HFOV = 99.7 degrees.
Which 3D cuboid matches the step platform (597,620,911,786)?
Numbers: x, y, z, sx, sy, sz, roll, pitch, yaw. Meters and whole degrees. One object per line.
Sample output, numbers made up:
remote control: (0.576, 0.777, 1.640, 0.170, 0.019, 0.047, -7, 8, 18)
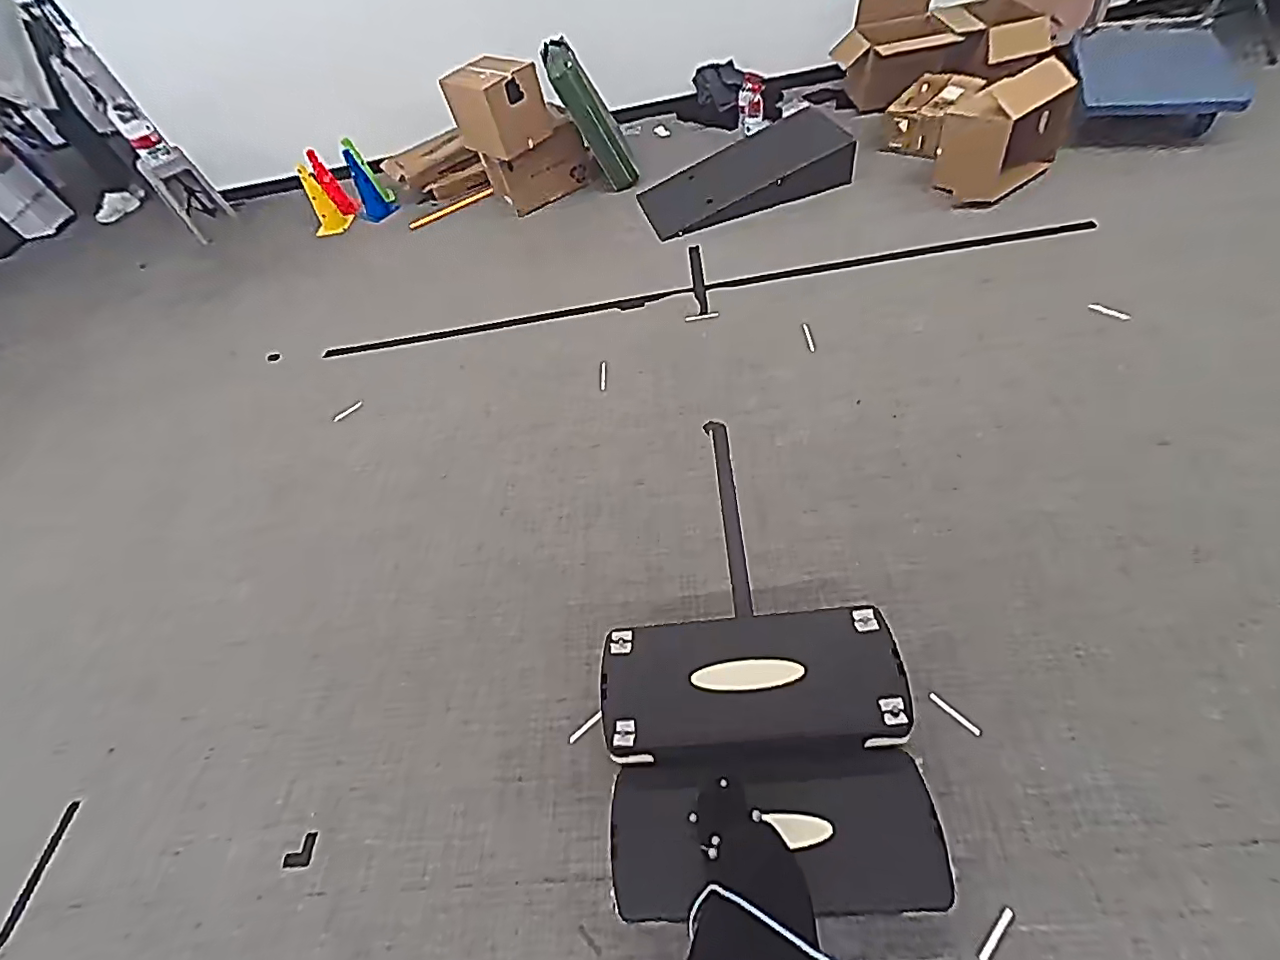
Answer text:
step platform: (0.241, 0.514, 1.252, 0.684, 0.204, 0.286, -8, 54, 5)
